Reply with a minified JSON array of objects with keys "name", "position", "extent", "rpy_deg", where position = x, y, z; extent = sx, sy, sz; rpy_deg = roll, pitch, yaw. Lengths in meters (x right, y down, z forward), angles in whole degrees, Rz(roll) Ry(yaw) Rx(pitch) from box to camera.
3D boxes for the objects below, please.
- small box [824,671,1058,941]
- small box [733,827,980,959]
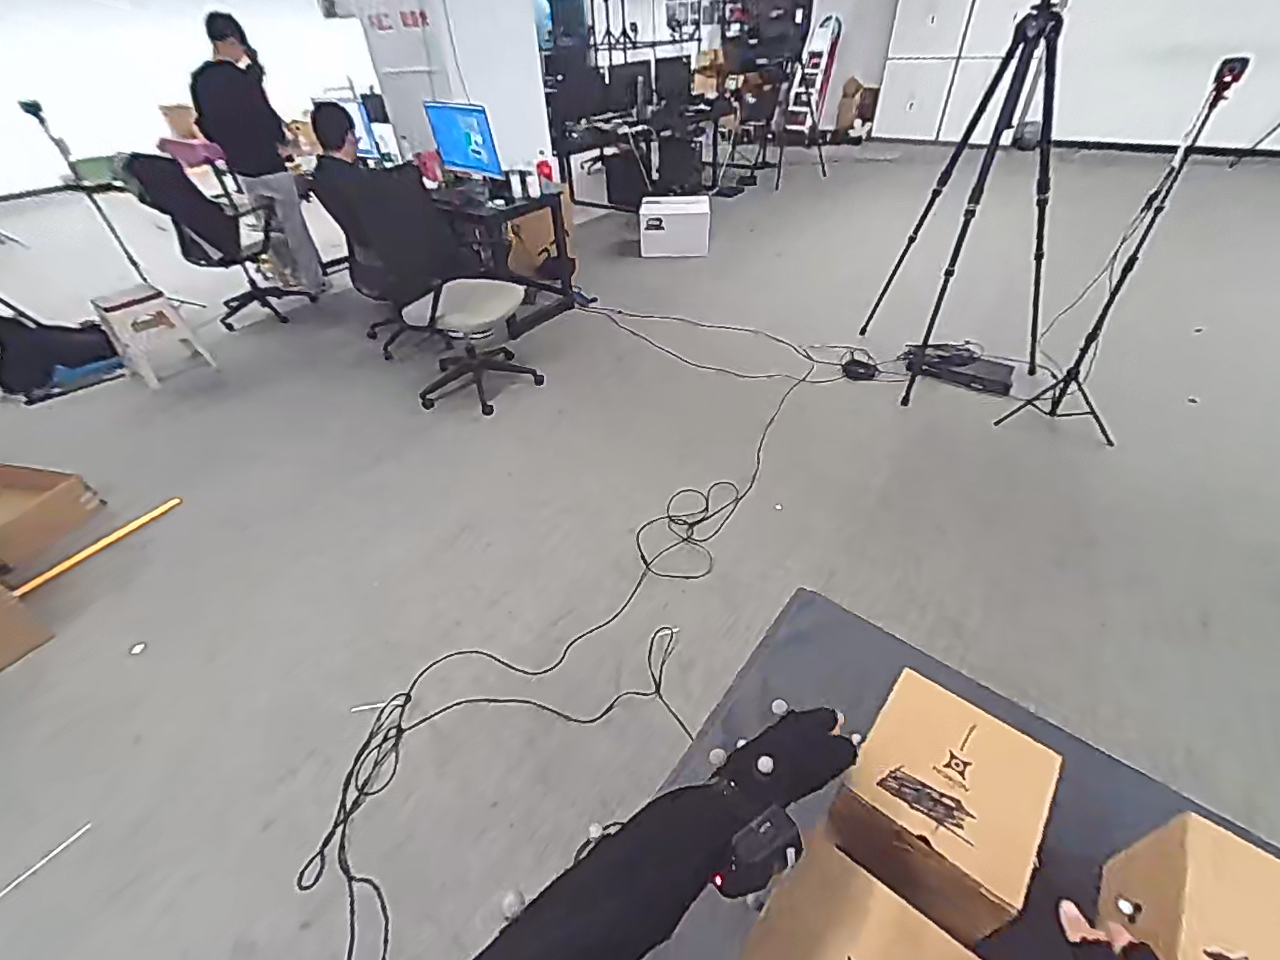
[{"name":"small box","position":[0.326,0.366,0.614],"extent":[0.168,0.176,0.179],"rpy_deg":[28,48,32]},{"name":"small box","position":[0.174,0.474,0.491],"extent":[0.168,0.176,0.179],"rpy_deg":[26,49,31]}]
